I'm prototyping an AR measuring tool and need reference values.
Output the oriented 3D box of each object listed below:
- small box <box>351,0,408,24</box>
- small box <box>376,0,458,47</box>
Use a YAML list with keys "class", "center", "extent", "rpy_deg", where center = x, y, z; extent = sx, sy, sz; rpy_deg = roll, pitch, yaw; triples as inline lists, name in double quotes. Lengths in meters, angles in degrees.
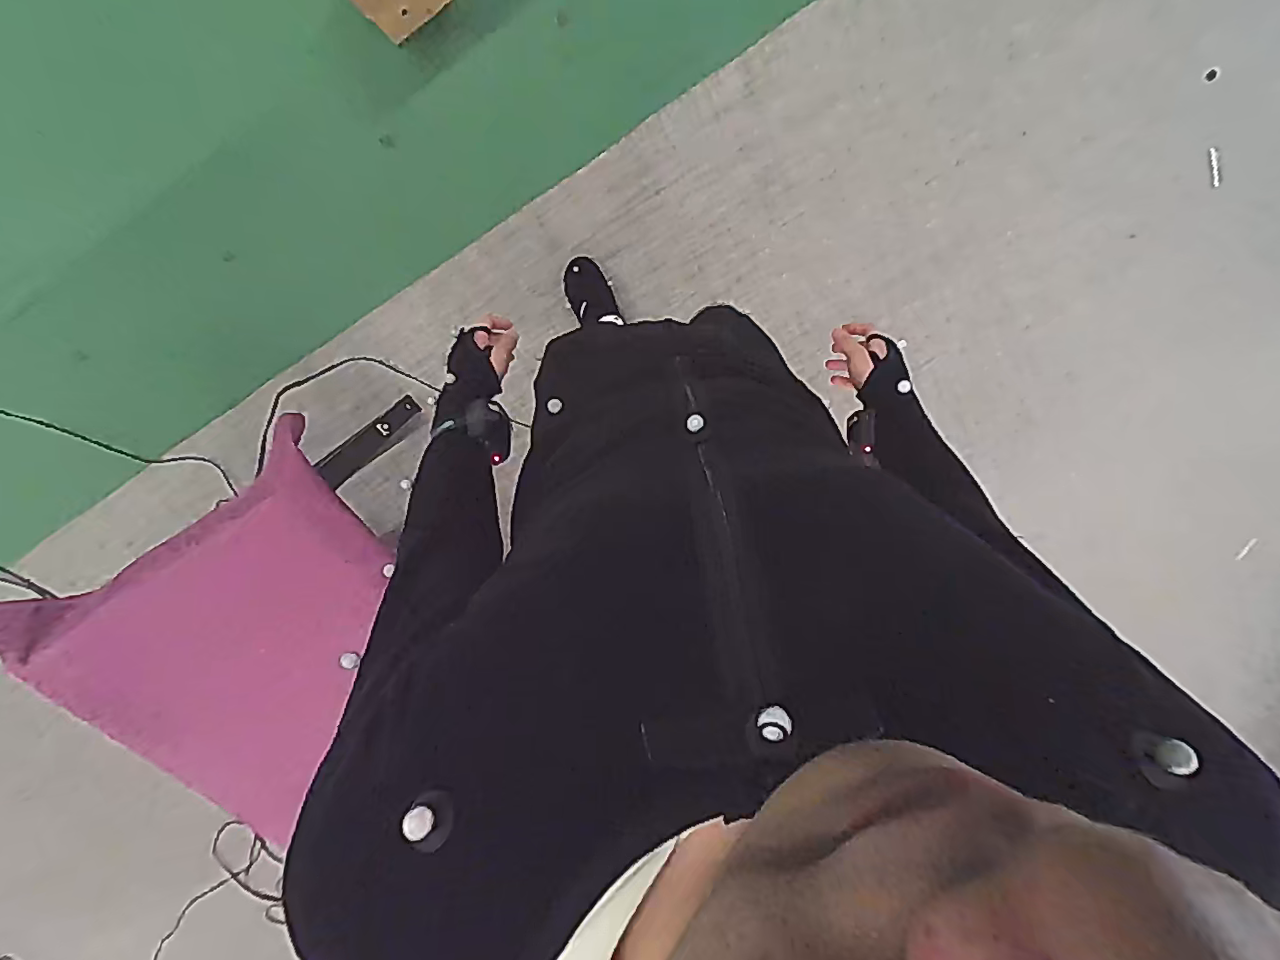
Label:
- class: "small box"
  center: [-0.495, -0.980, 0.968]
  extent: [0.179, 0.176, 0.168]
  rpy_deg: [-32, 111, 8]
- class: "small box"
  center: [-0.508, -1.046, 1.118]
  extent: [0.168, 0.176, 0.179]
  rpy_deg: [-32, 110, 9]
